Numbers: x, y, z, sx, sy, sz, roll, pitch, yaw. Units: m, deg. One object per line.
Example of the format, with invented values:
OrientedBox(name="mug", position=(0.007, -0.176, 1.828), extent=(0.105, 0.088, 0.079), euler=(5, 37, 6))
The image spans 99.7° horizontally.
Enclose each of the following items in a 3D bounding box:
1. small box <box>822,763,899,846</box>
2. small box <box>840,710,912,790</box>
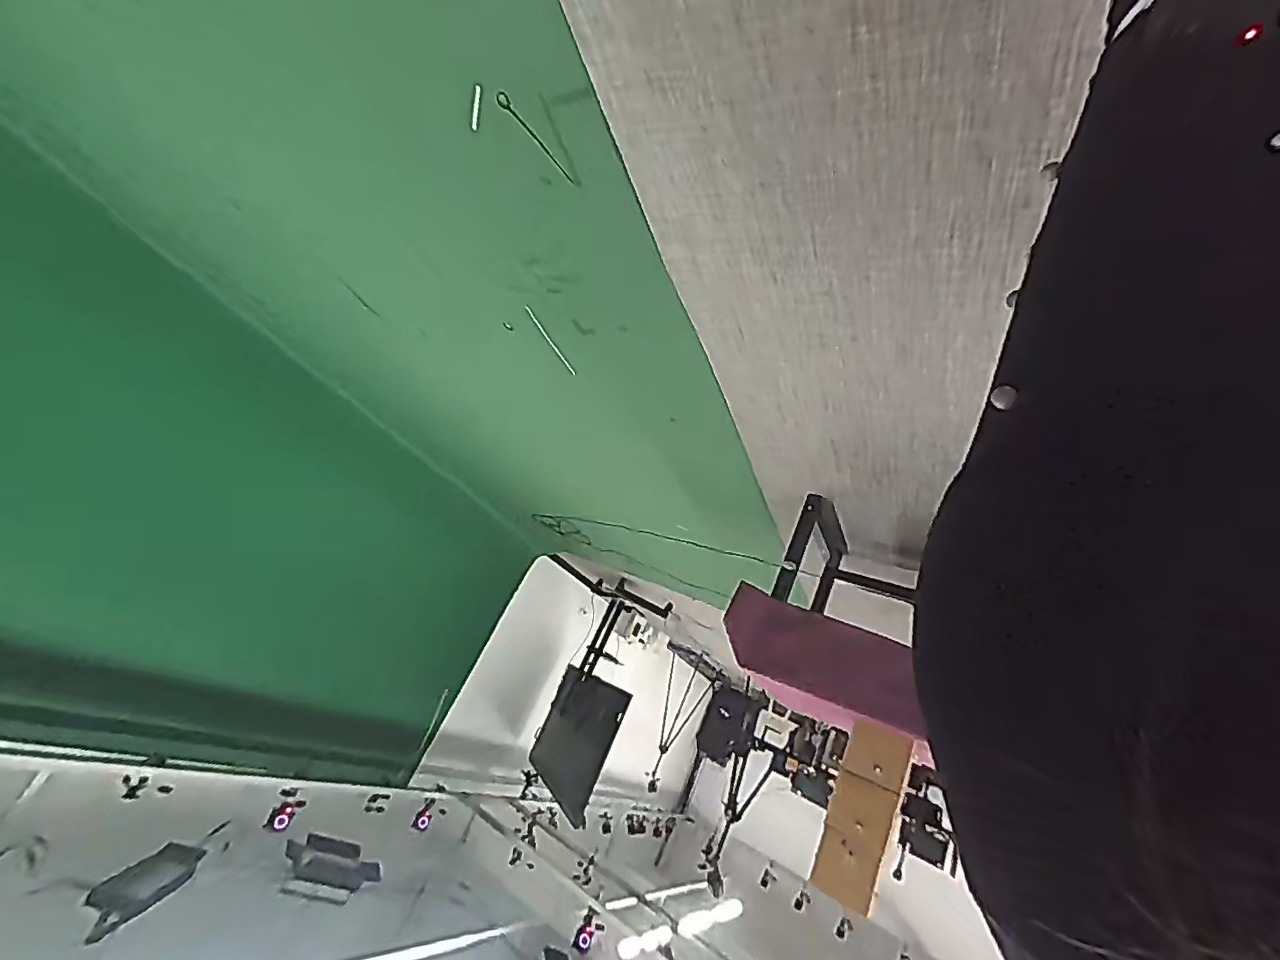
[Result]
OrientedBox(name="small box", position=(0.682, 0.991, 1.663), extent=(0.179, 0.176, 0.168), euler=(12, 155, 34))
OrientedBox(name="small box", position=(0.754, 0.854, 1.715), extent=(0.179, 0.176, 0.168), euler=(14, 157, 34))
